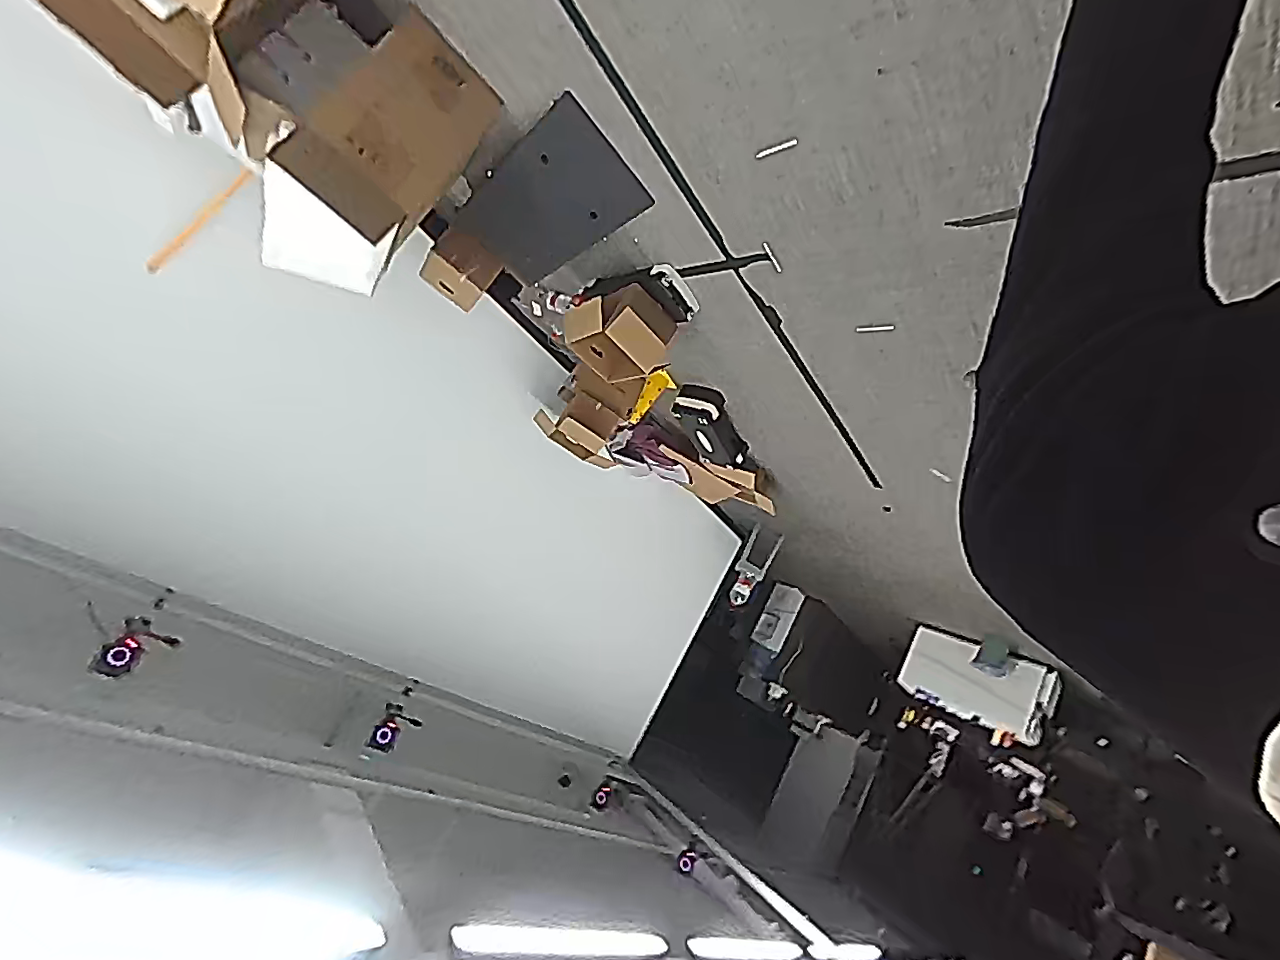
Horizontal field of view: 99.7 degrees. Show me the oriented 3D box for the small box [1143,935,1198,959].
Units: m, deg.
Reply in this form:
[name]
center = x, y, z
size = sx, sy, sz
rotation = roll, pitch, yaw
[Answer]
[small box]
center = 1.263, 1.195, 1.240
size = 0.168, 0.176, 0.179
rotation = 14, 161, 46
